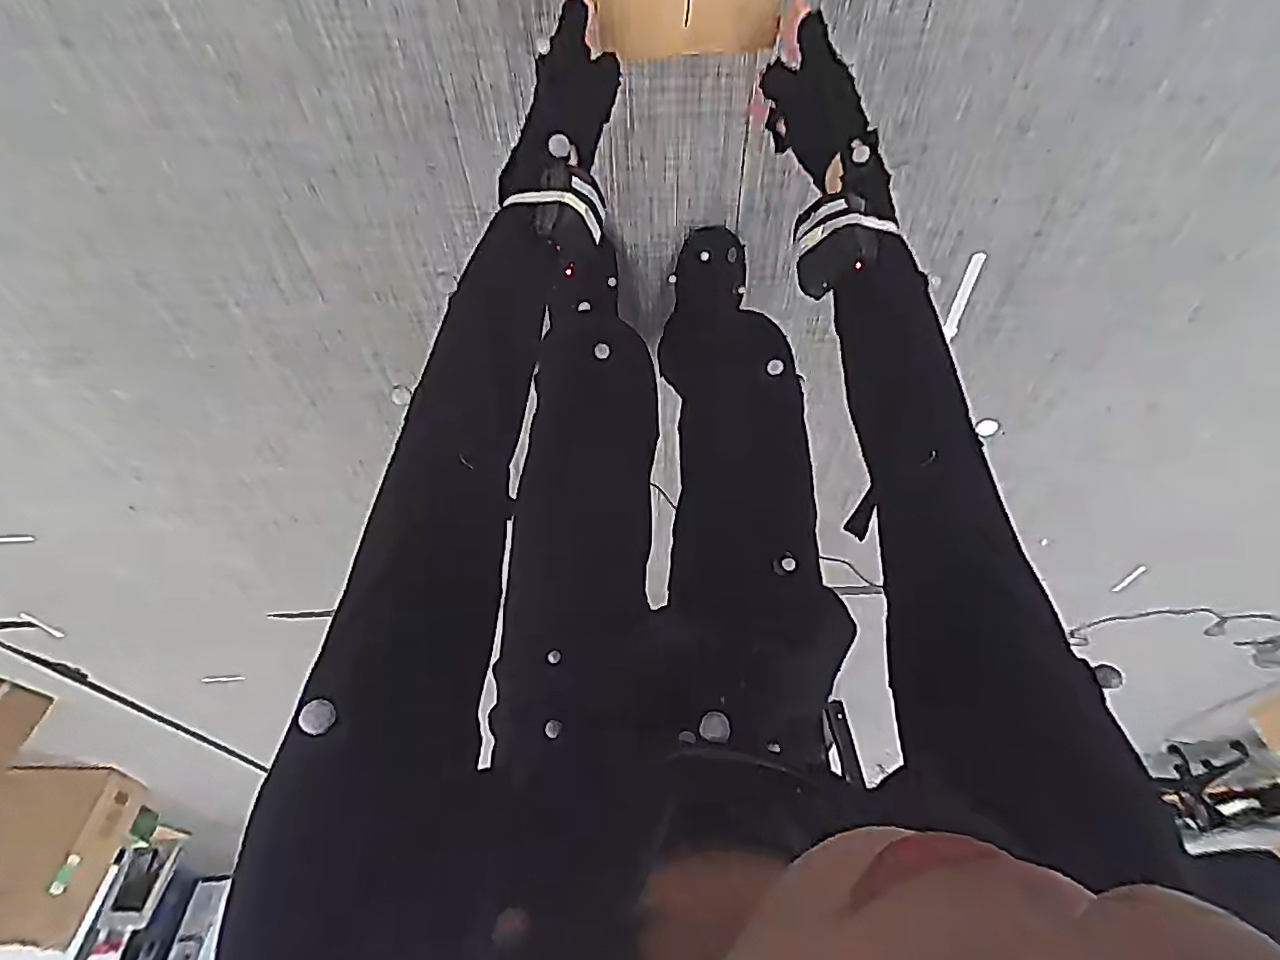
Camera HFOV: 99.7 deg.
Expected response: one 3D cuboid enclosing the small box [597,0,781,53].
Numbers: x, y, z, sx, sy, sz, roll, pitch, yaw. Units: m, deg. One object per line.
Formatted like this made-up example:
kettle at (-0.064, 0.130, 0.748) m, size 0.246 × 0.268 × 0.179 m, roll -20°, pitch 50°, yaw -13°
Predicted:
small box at (0.038, -0.518, 0.491) m, size 0.168 × 0.176 × 0.179 m, roll -4°, pitch 139°, yaw 1°
